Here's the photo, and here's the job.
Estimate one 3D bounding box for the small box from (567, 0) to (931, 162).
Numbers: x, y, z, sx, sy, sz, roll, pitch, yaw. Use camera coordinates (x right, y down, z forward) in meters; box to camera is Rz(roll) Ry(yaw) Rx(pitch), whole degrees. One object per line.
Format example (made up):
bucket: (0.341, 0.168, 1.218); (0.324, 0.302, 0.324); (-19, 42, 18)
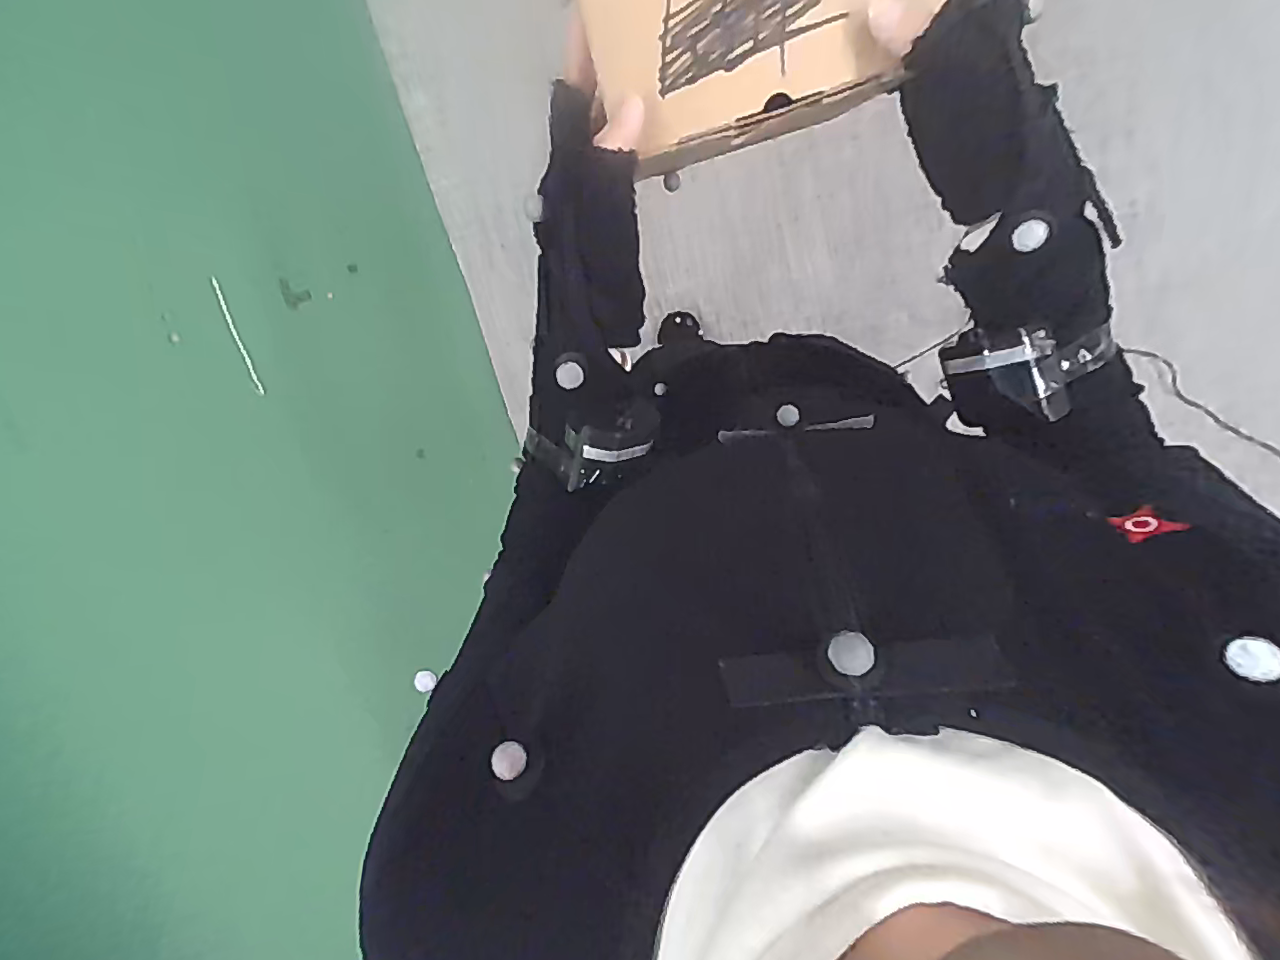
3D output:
small box: (0.039, -0.301, 0.307); (0.168, 0.176, 0.179); (-16, 115, 8)

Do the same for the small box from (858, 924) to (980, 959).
small box: (0.439, 0.814, 0.811); (0.179, 0.176, 0.168); (-11, 106, 8)
